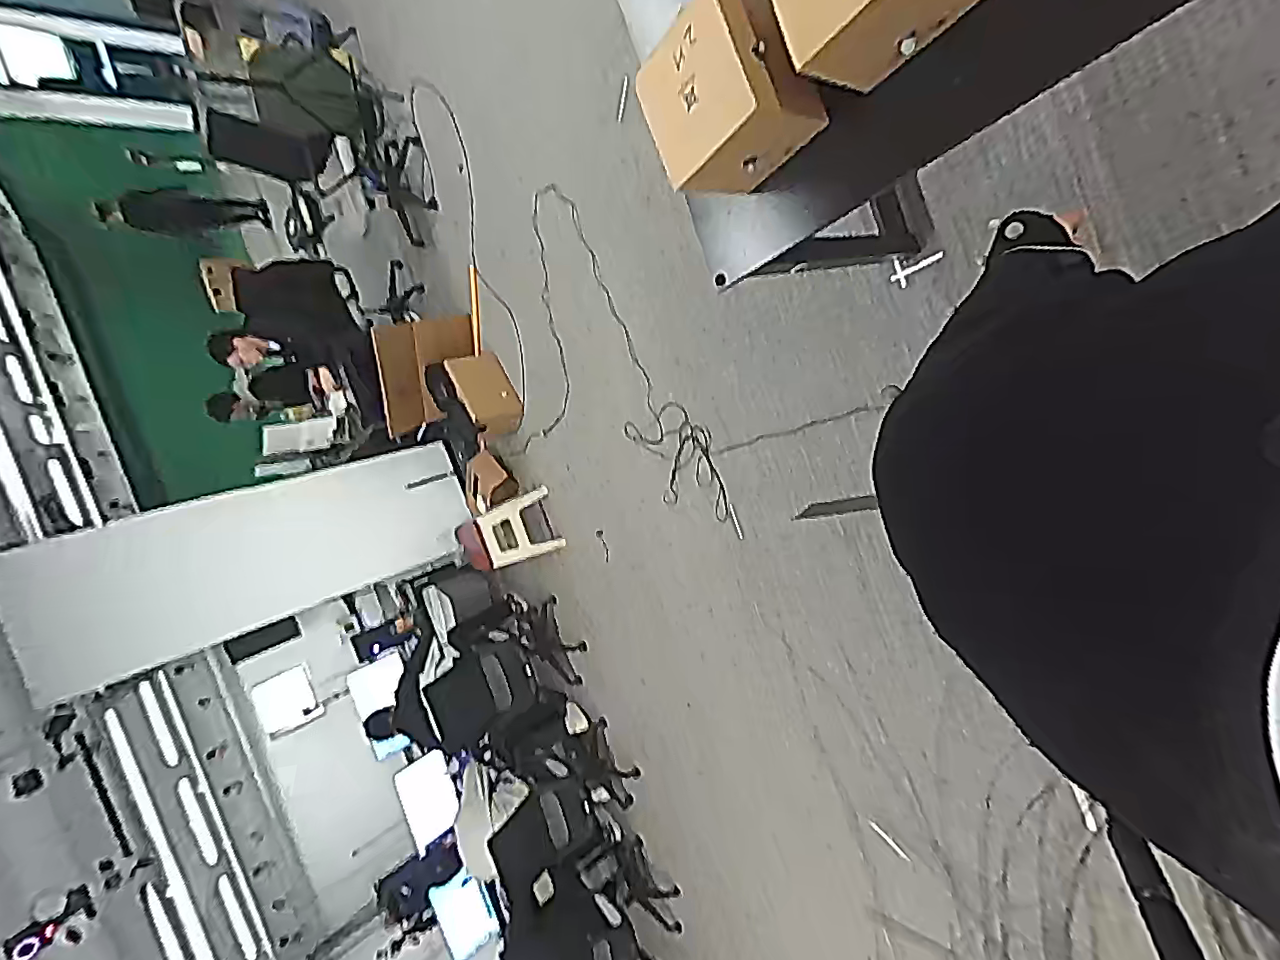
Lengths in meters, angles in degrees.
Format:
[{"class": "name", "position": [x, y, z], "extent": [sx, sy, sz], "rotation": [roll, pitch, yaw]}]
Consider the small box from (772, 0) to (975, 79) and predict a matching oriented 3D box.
[{"class": "small box", "position": [0.252, -0.582, 0.587], "extent": [0.168, 0.176, 0.179], "rotation": [-16, 95, 53]}]
